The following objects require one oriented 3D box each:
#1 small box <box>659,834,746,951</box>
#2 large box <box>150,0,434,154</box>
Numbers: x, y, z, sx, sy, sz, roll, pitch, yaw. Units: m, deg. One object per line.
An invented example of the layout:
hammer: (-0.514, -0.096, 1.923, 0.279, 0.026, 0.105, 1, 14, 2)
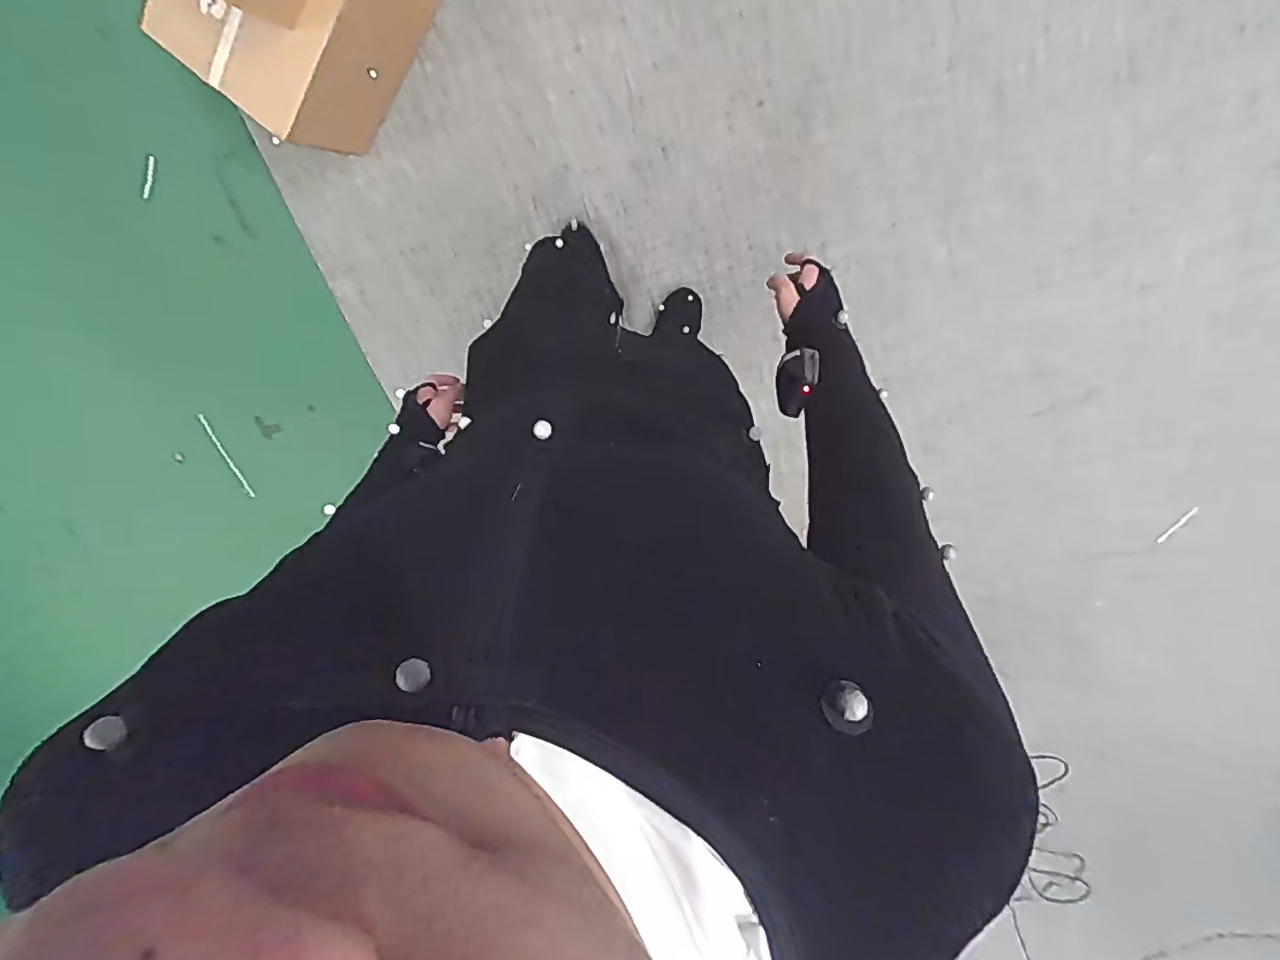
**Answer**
small box: (0.148, 0.970, 1.284, 0.168, 0.176, 0.179, -13, 115, 12)
large box: (-0.714, -0.990, 1.148, 0.320, 0.320, 0.408, 38, 114, -12)
